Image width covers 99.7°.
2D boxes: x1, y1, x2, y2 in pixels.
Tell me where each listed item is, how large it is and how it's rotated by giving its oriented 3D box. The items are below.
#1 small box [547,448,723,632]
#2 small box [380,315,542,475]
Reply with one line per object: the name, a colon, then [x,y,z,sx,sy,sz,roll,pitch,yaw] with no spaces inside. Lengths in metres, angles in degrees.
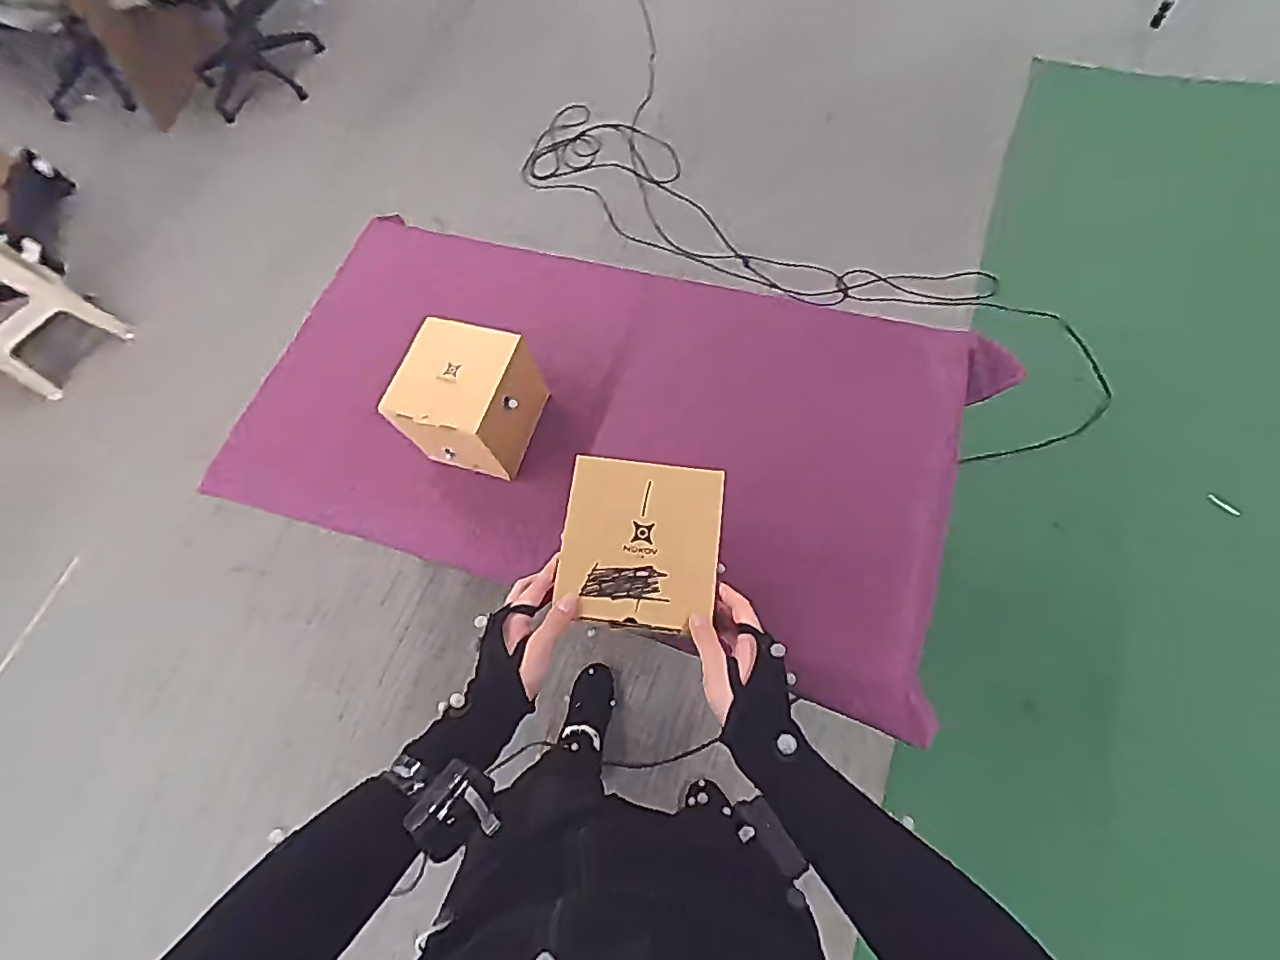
small box: [-0.001,0.081,0.644,0.168,0.176,0.179,8,72,3]
small box: [-0.273,-0.132,0.876,0.168,0.176,0.179,15,71,11]
